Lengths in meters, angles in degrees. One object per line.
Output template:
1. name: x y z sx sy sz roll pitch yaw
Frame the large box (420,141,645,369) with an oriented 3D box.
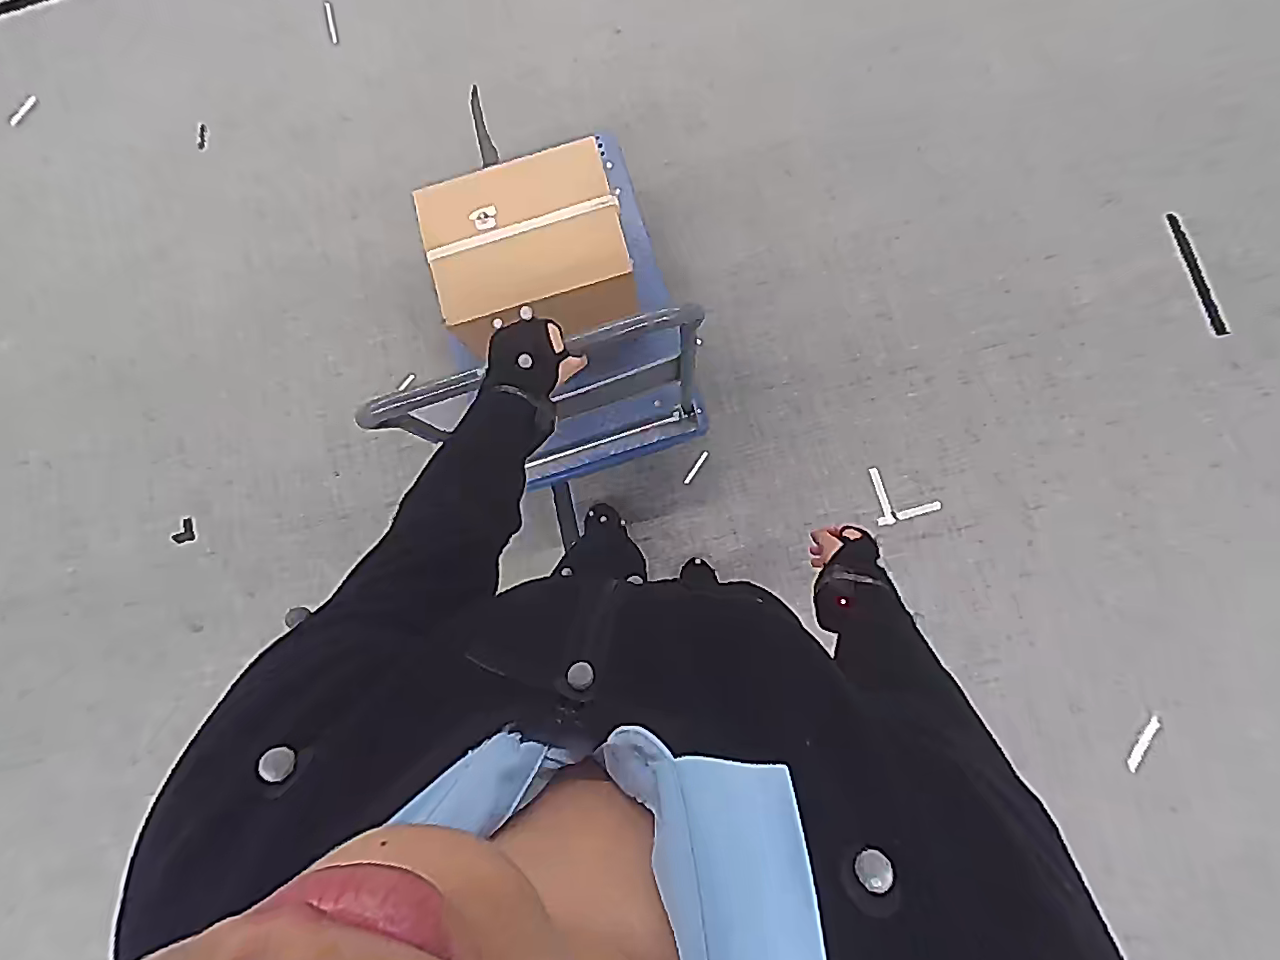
1. large box: -0.230 -0.500 1.276 0.408 0.320 0.320 -16 82 3
